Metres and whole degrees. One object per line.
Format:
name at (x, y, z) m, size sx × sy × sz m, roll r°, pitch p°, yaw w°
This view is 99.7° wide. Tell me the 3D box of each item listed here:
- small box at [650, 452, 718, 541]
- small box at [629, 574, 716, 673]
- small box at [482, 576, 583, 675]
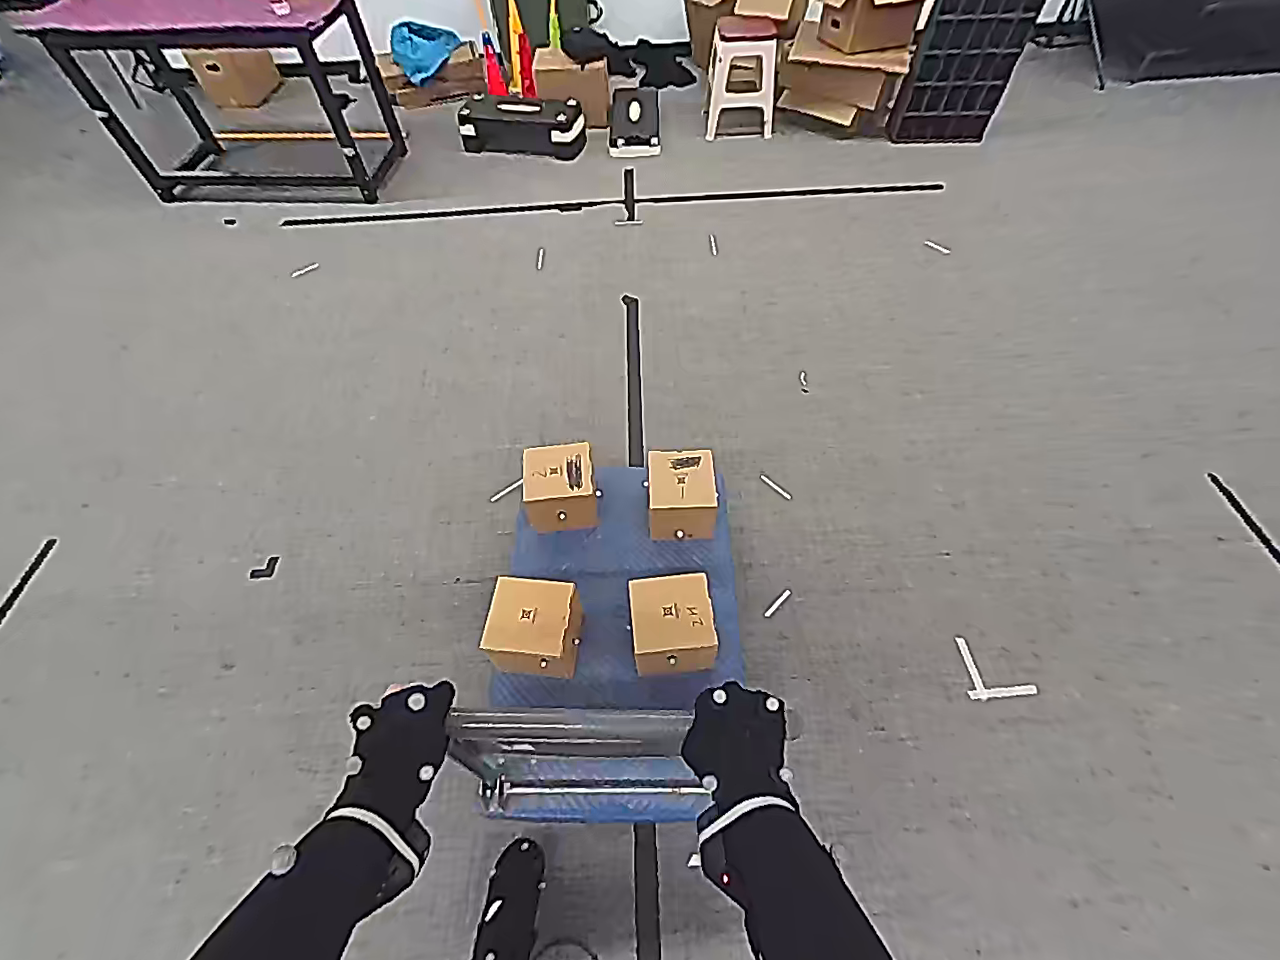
small box at (0.109, 0.044, 1.422) m, size 0.168 × 0.176 × 0.179 m, roll -1°, pitch 56°, yaw 1°
small box at (0.071, 0.329, 1.224) m, size 0.179 × 0.176 × 0.168 m, roll -5°, pitch 55°, yaw -1°
small box at (-0.236, 0.335, 1.234) m, size 0.179 × 0.176 × 0.168 m, roll 5°, pitch 55°, yaw 4°
